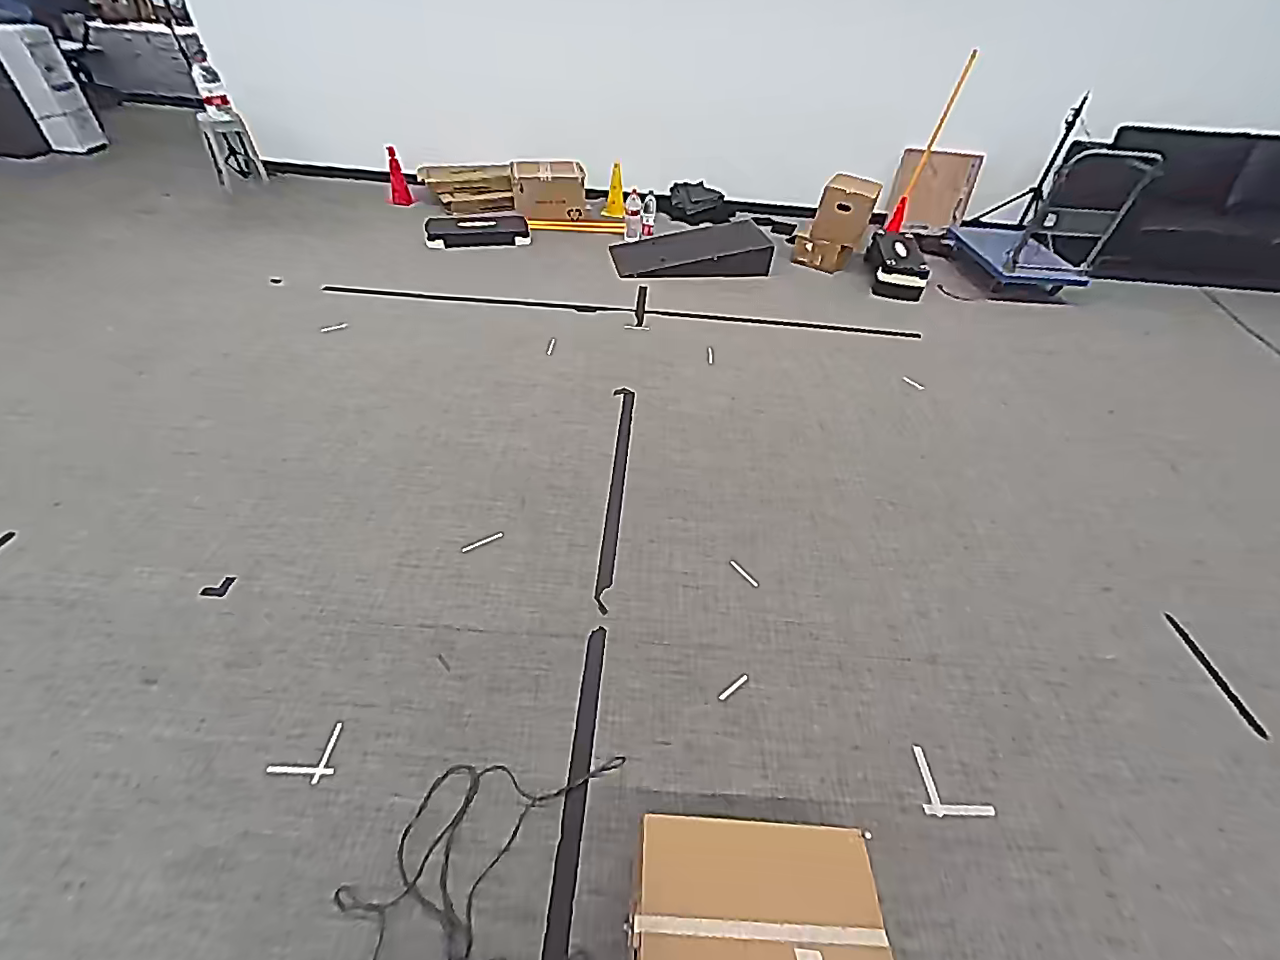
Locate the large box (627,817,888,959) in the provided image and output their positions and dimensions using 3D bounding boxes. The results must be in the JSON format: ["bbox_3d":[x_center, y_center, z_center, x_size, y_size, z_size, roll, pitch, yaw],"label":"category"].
[{"bbox_3d":[0.185,0.839,0.974,0.408,0.320,0.320,5,43,-2],"label":"large box"}]
